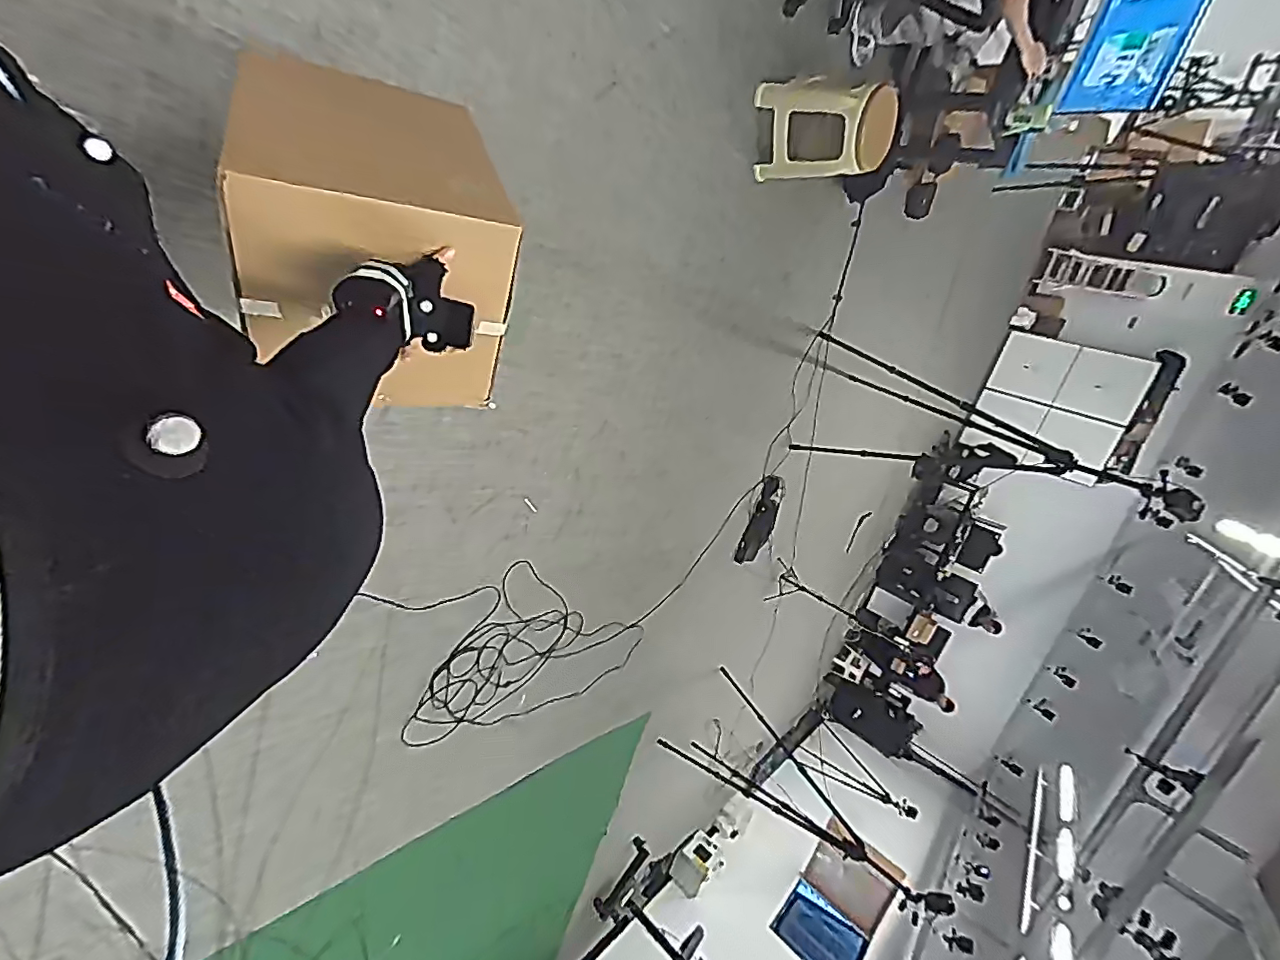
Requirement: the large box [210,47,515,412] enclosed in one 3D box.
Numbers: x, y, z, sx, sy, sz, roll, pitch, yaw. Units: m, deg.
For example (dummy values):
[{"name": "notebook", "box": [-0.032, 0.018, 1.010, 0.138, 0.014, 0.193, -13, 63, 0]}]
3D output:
[{"name": "large box", "box": [-0.406, -0.358, 0.812, 0.320, 0.408, 0.320, -1, 140, -28]}]
